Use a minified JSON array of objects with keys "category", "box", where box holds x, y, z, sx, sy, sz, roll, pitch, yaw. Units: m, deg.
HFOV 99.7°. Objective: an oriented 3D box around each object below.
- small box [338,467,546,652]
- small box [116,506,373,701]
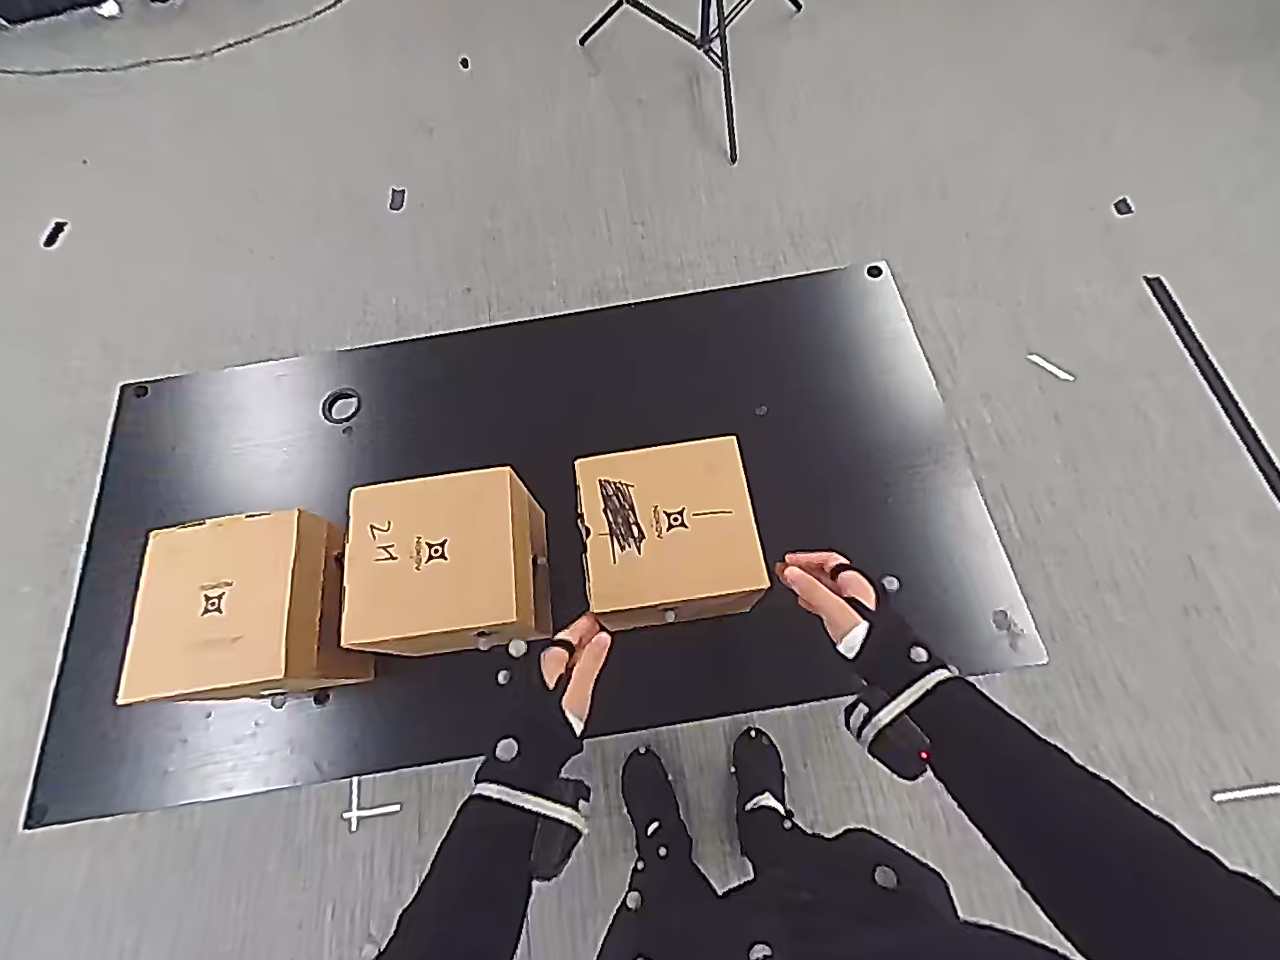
[{"category":"small box","box":[-0.208,0.099,0.618,0.179,0.176,0.168,-8,68,1]},{"category":"small box","box":[-0.423,0.147,0.615,0.168,0.176,0.179,-10,70,1]}]
